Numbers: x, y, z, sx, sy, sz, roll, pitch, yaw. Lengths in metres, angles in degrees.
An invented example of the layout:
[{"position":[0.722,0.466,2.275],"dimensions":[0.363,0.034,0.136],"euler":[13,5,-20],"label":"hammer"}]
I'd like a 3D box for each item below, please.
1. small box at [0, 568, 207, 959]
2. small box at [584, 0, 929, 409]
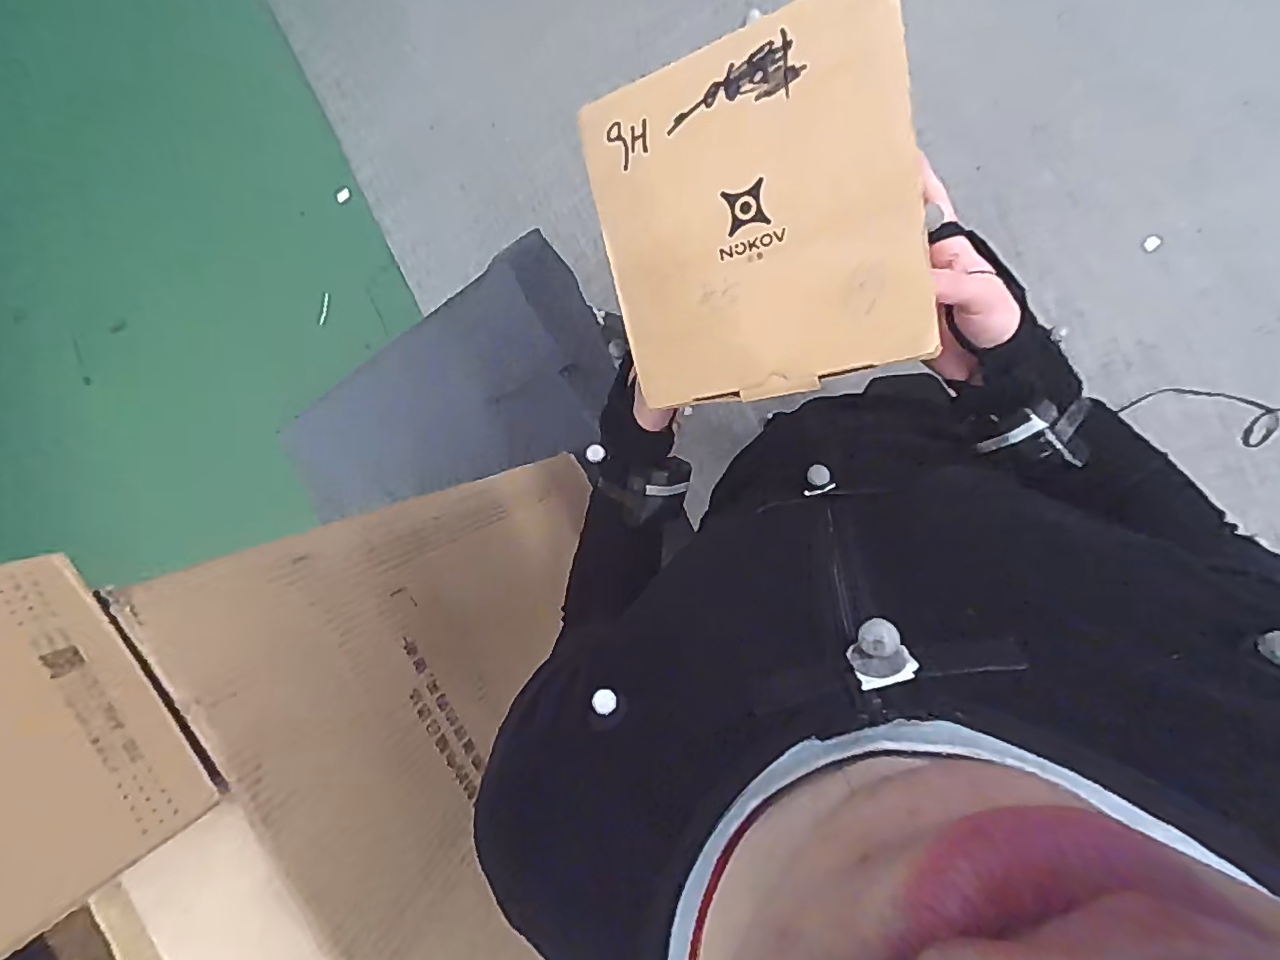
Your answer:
[{"position":[-0.353,0.165,0.250],"dimensions":[0.179,0.176,0.168],"euler":[-37,86,20],"label":"small box"},{"position":[0.090,-0.160,0.361],"dimensions":[0.168,0.176,0.179],"euler":[-7,105,25],"label":"small box"}]
